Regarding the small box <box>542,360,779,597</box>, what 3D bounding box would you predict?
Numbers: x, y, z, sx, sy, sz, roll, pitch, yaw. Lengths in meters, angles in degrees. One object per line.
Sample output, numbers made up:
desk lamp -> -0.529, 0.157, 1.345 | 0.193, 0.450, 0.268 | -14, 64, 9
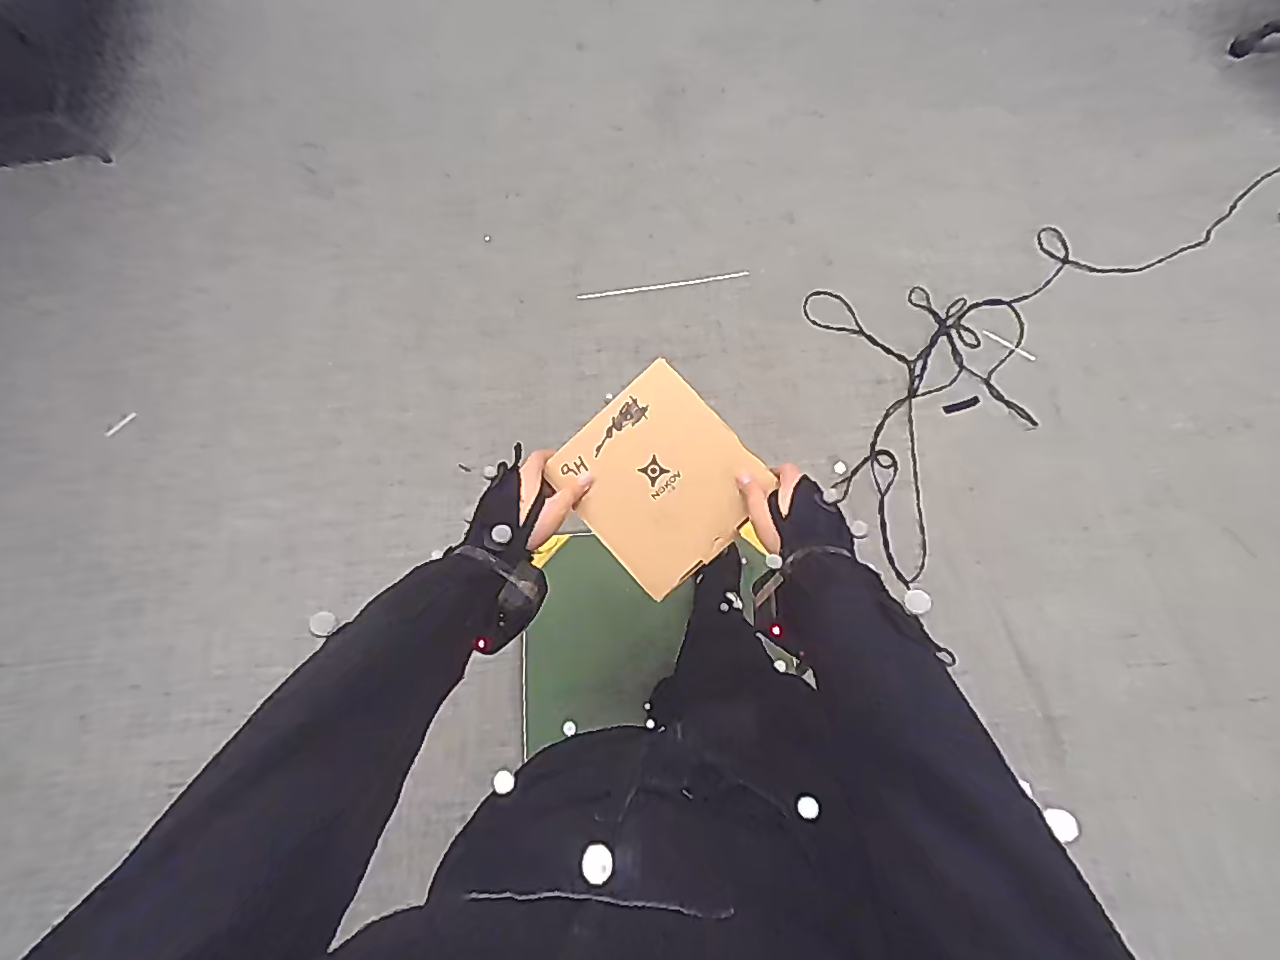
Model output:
small box -> 0.024, 0.000, 0.602 | 0.168, 0.176, 0.179 | -42, 85, 1
